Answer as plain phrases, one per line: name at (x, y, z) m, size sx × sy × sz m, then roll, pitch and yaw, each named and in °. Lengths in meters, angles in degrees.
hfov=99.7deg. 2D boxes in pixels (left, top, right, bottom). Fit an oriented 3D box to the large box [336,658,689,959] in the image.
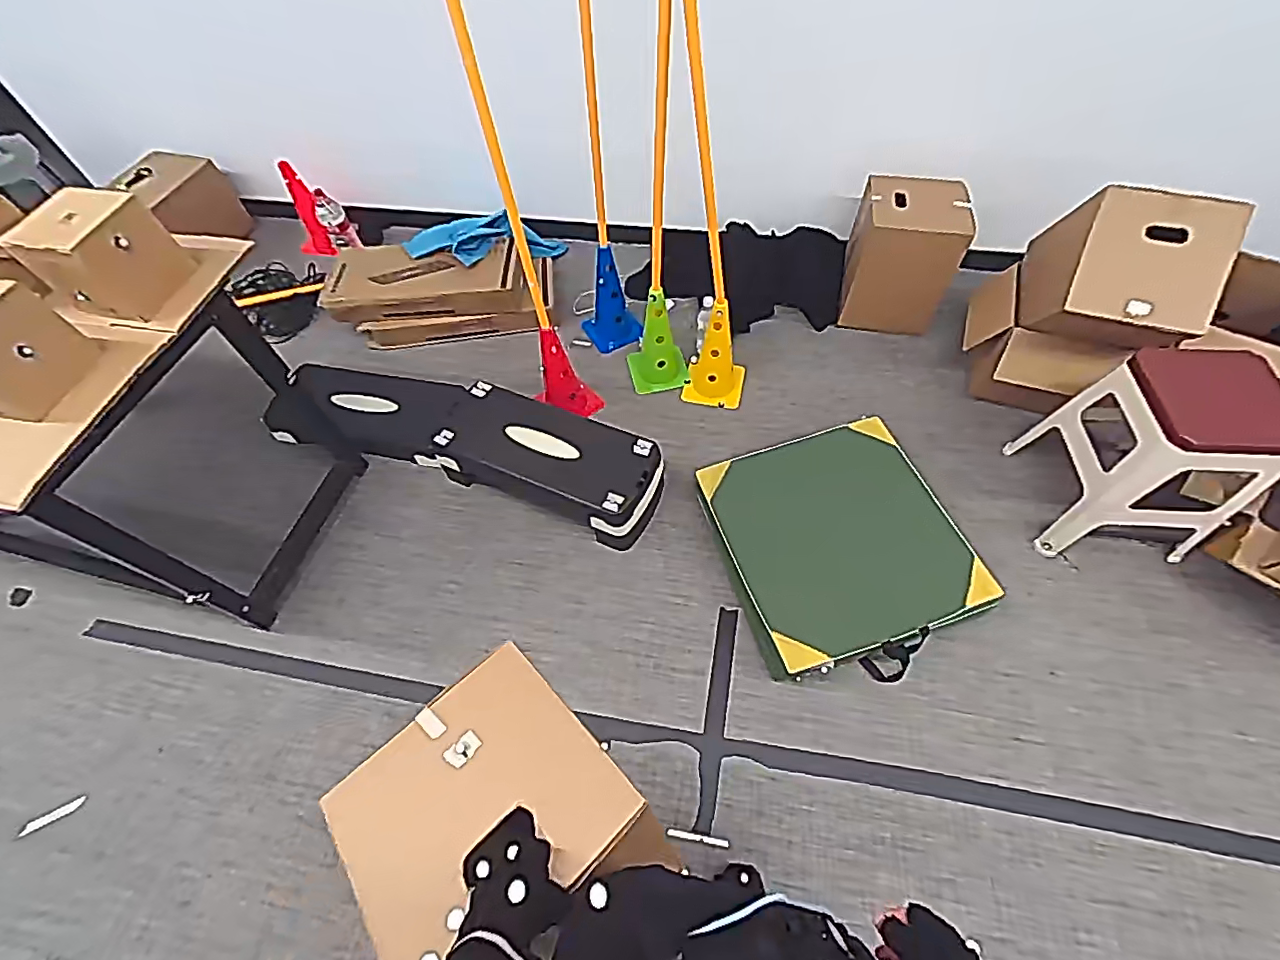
large box at (-0.161, 0.546, 0.814) m, size 0.320 × 0.408 × 0.320 m, roll -38°, pitch 50°, yaw -21°
